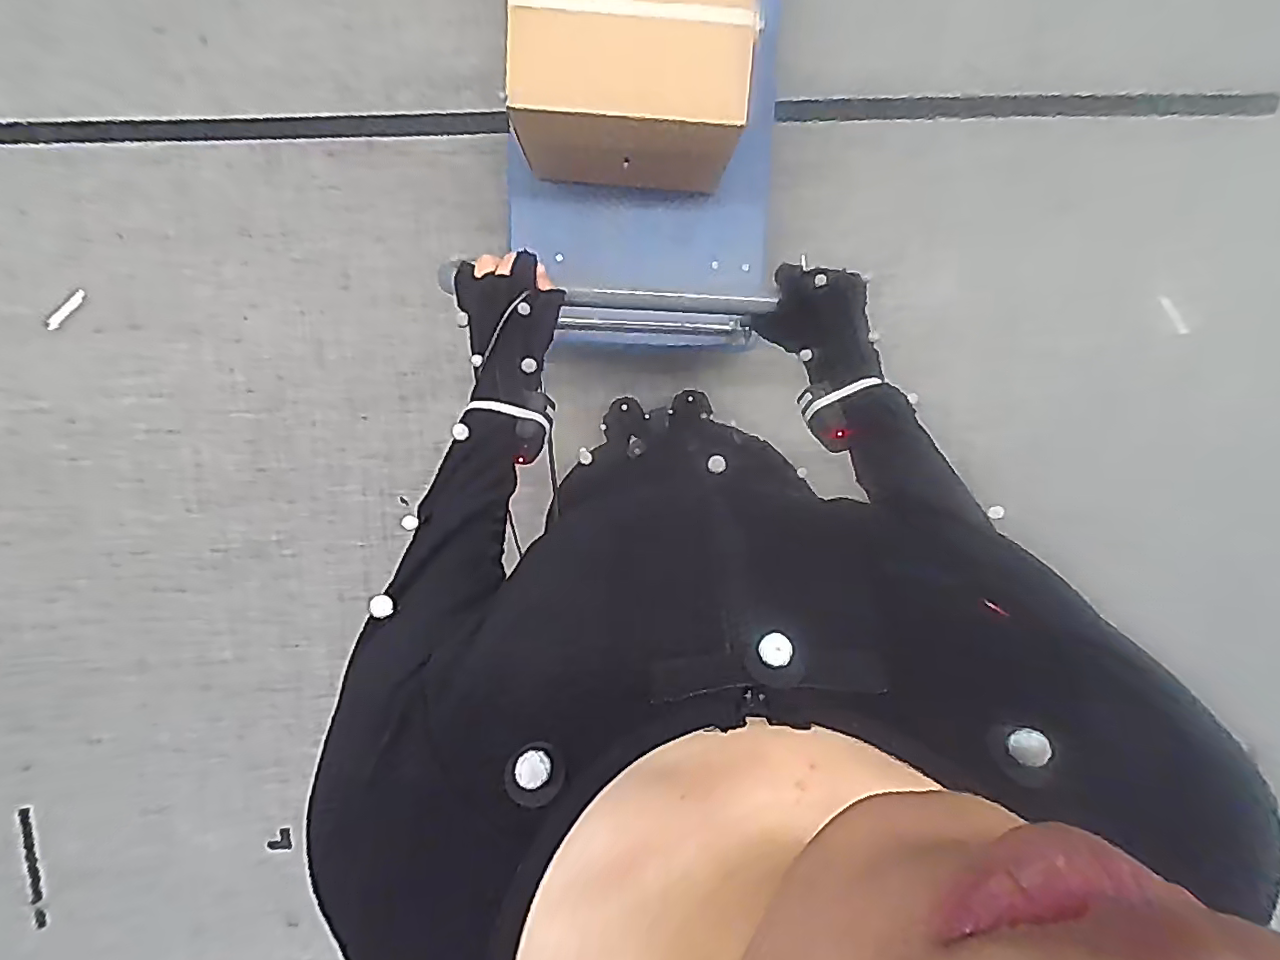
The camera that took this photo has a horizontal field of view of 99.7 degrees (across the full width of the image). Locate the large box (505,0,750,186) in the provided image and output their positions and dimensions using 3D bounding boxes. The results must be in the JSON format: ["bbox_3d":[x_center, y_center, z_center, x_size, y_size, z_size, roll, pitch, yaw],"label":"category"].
[{"bbox_3d":[-0.021,-0.783,1.028,0.408,0.320,0.320,3,99,-2],"label":"large box"}]

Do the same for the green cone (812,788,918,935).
[{"bbox_3d":[0.638,1.056,1.478,0.202,0.368,0.200,2,99,-4],"label":"green cone"}]
